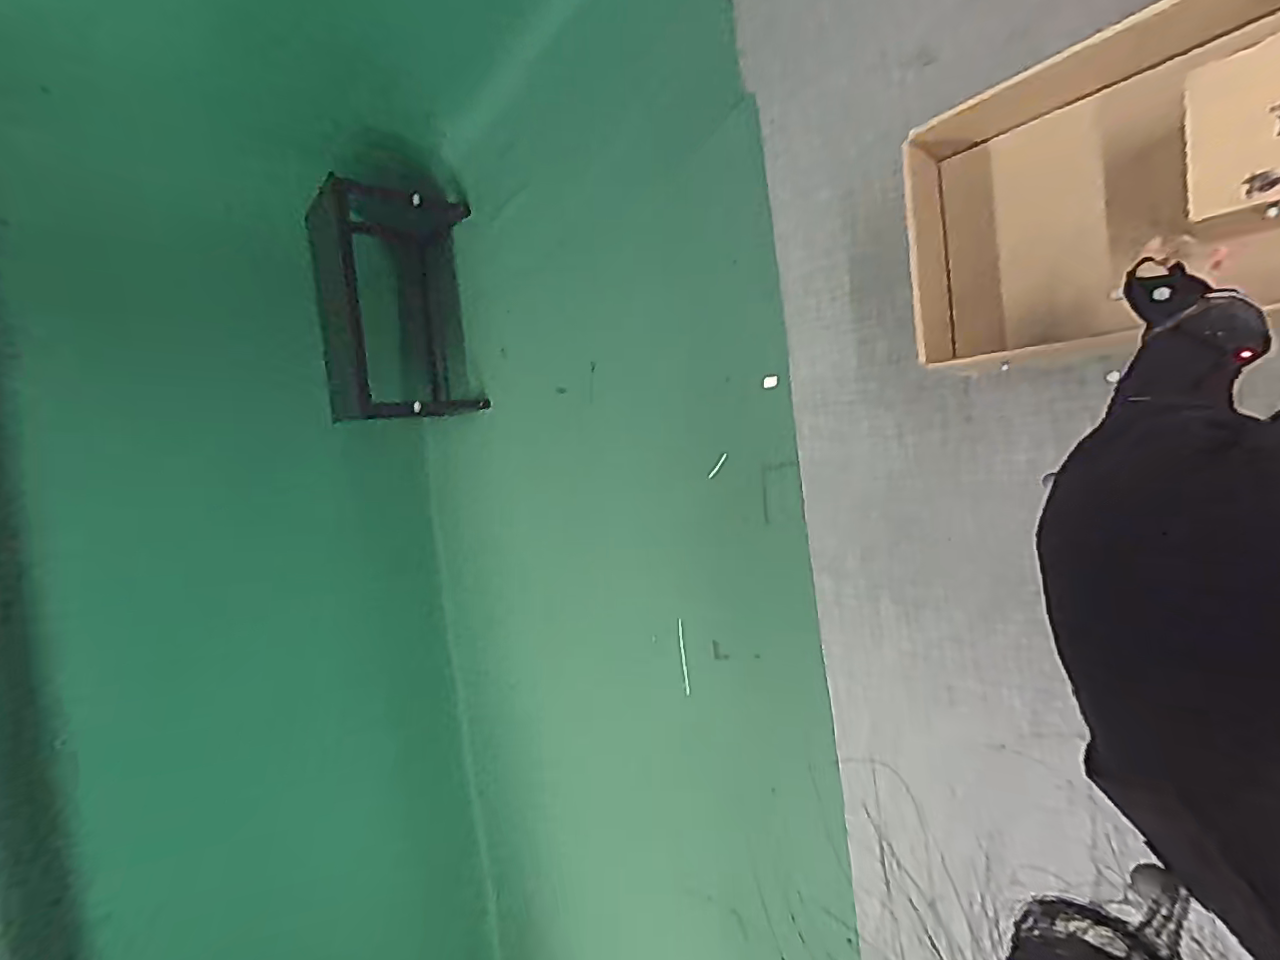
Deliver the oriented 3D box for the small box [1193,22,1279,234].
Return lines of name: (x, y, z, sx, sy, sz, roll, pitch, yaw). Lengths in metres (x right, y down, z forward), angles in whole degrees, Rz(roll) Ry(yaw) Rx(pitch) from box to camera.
small box: (0.759, -0.410, 0.620, 0.168, 0.176, 0.179, -1, 95, 51)
